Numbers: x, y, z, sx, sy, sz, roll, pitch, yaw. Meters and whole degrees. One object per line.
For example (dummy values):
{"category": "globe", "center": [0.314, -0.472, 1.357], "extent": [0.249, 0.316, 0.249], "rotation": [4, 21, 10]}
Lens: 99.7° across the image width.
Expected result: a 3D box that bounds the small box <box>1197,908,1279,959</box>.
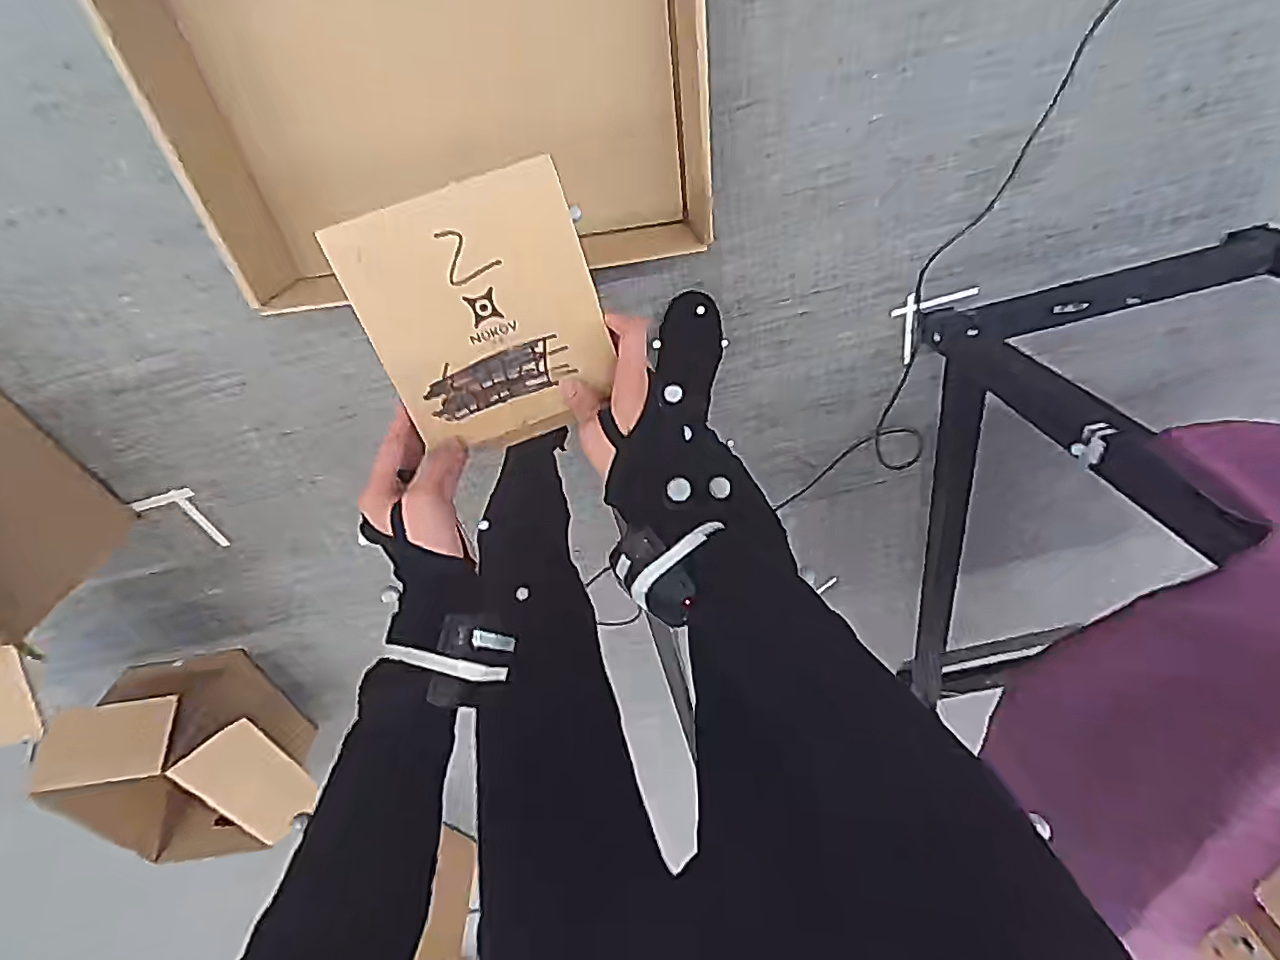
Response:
{"category": "small box", "center": [0.915, 0.681, 0.709], "extent": [0.179, 0.176, 0.168], "rotation": [-11, 126, 2]}
